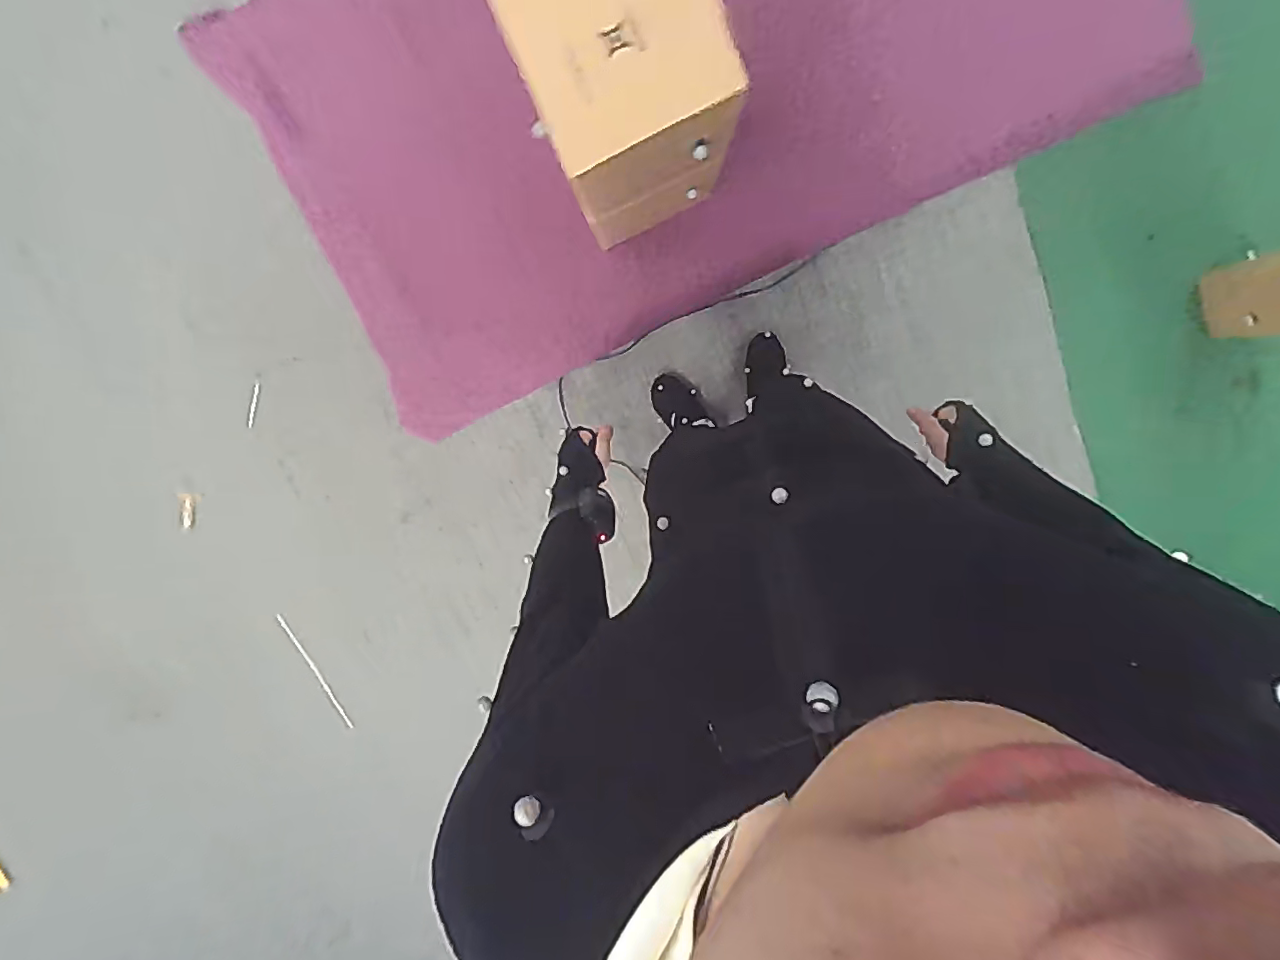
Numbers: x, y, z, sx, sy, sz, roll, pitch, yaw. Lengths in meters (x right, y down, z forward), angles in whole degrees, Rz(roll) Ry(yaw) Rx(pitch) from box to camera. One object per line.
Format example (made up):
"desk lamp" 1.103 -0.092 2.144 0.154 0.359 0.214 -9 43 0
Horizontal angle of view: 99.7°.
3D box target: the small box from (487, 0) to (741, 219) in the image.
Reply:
"small box" -0.020 -0.395 0.543 0.179 0.176 0.168 -24 101 7

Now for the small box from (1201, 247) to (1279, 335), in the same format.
"small box" 1.594 -0.481 1.368 0.168 0.176 0.179 -23 101 7
